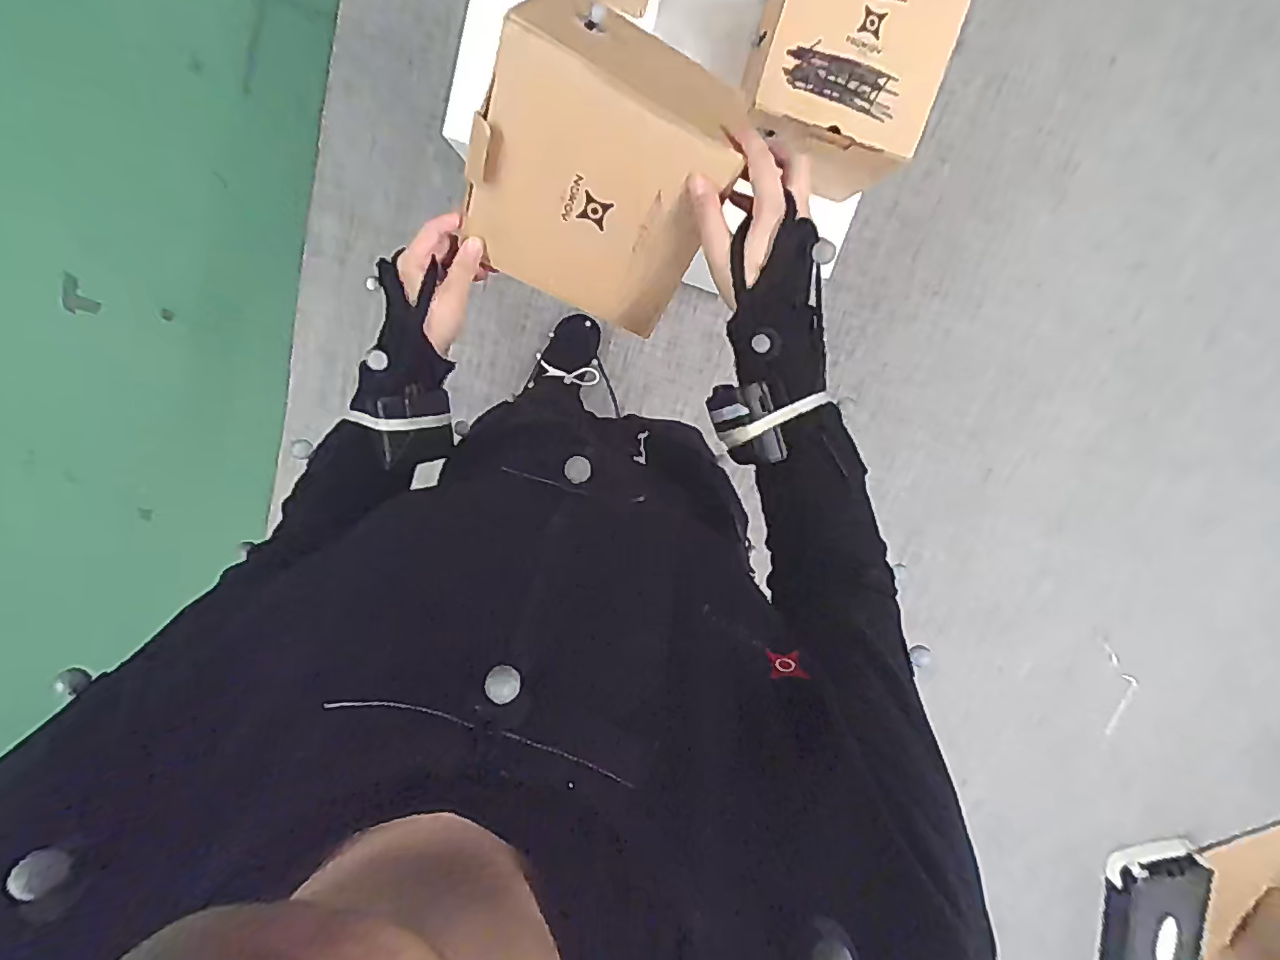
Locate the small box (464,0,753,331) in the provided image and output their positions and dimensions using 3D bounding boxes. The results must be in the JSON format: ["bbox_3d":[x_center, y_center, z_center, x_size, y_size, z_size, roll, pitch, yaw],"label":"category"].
[{"bbox_3d":[-0.025,-0.266,0.456,0.179,0.176,0.168,20,138,-14],"label":"small box"}]
